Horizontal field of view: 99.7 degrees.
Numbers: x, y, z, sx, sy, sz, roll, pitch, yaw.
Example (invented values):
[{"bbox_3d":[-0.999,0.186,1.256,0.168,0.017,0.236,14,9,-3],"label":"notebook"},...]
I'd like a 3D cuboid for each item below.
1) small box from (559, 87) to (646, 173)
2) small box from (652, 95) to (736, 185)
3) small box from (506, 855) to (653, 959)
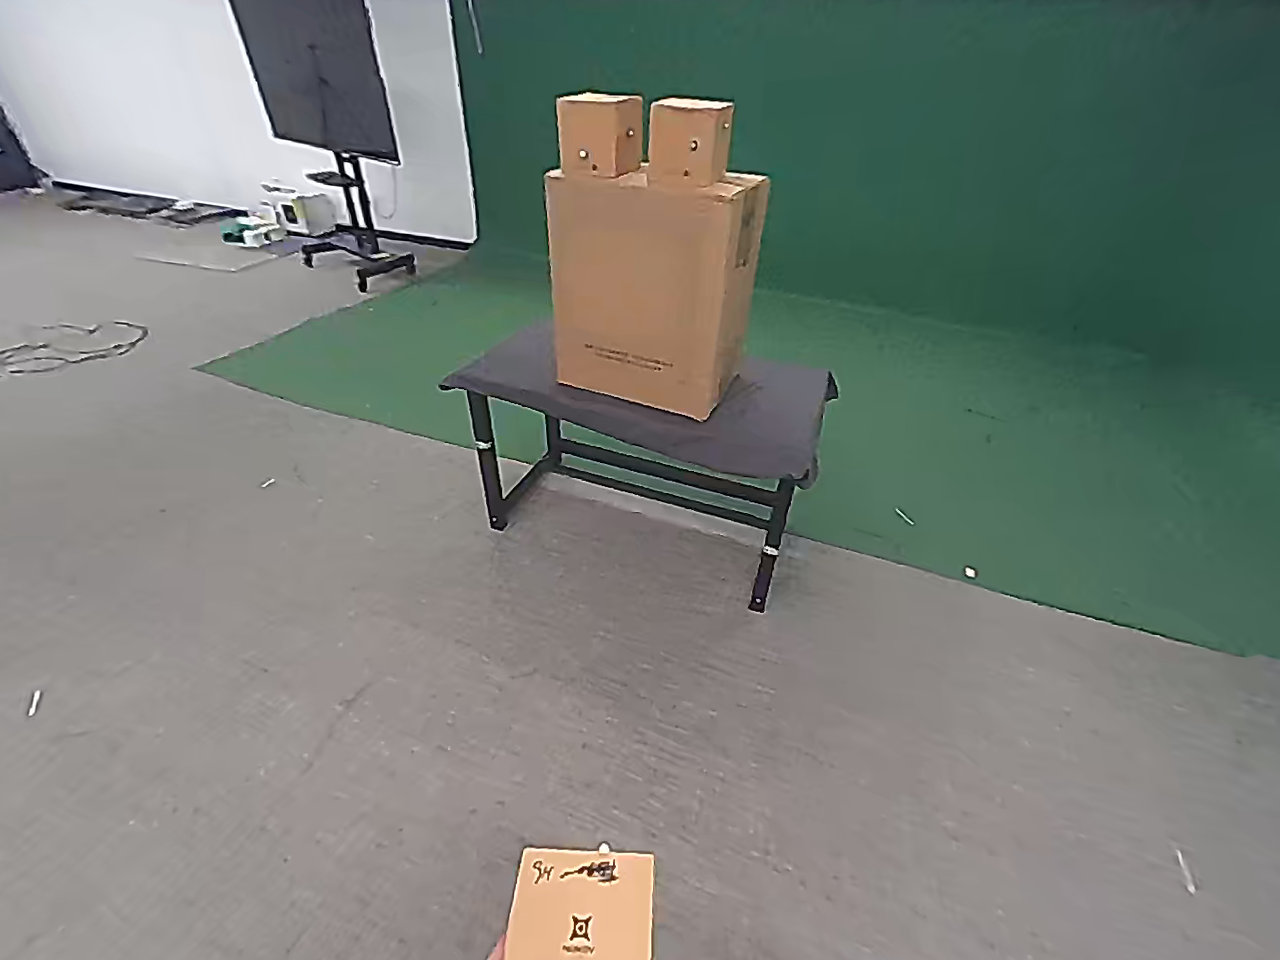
[{"bbox_3d":[-0.098,-0.930,1.433,0.168,0.176,0.179,18,42,20],"label":"small box"},{"bbox_3d":[0.134,-0.866,1.377,0.168,0.176,0.179,17,41,12],"label":"small box"},{"bbox_3d":[-0.068,0.593,0.665,0.168,0.176,0.179,-1,36,-1],"label":"small box"}]
